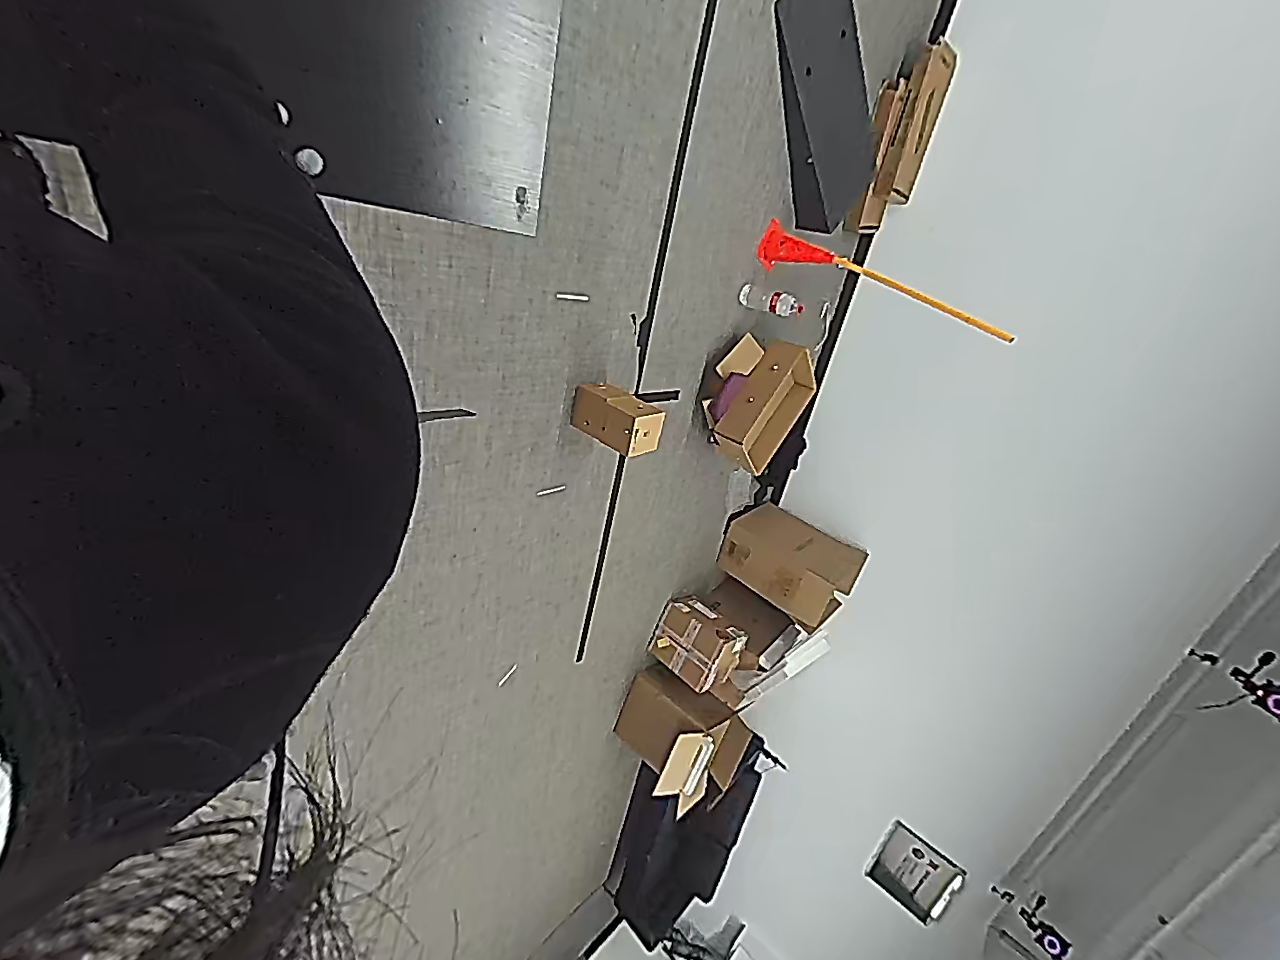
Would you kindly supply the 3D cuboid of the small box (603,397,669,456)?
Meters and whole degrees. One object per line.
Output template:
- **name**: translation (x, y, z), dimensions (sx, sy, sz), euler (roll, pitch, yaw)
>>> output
- **small box**: translation (-0.017, -0.214, 2.090), dimensions (0.179, 0.176, 0.168), euler (-19, 130, -46)

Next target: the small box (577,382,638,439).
- **small box**: translation (-0.135, -0.284, 2.180), dimensions (0.168, 0.176, 0.179), euler (-17, 127, -47)
